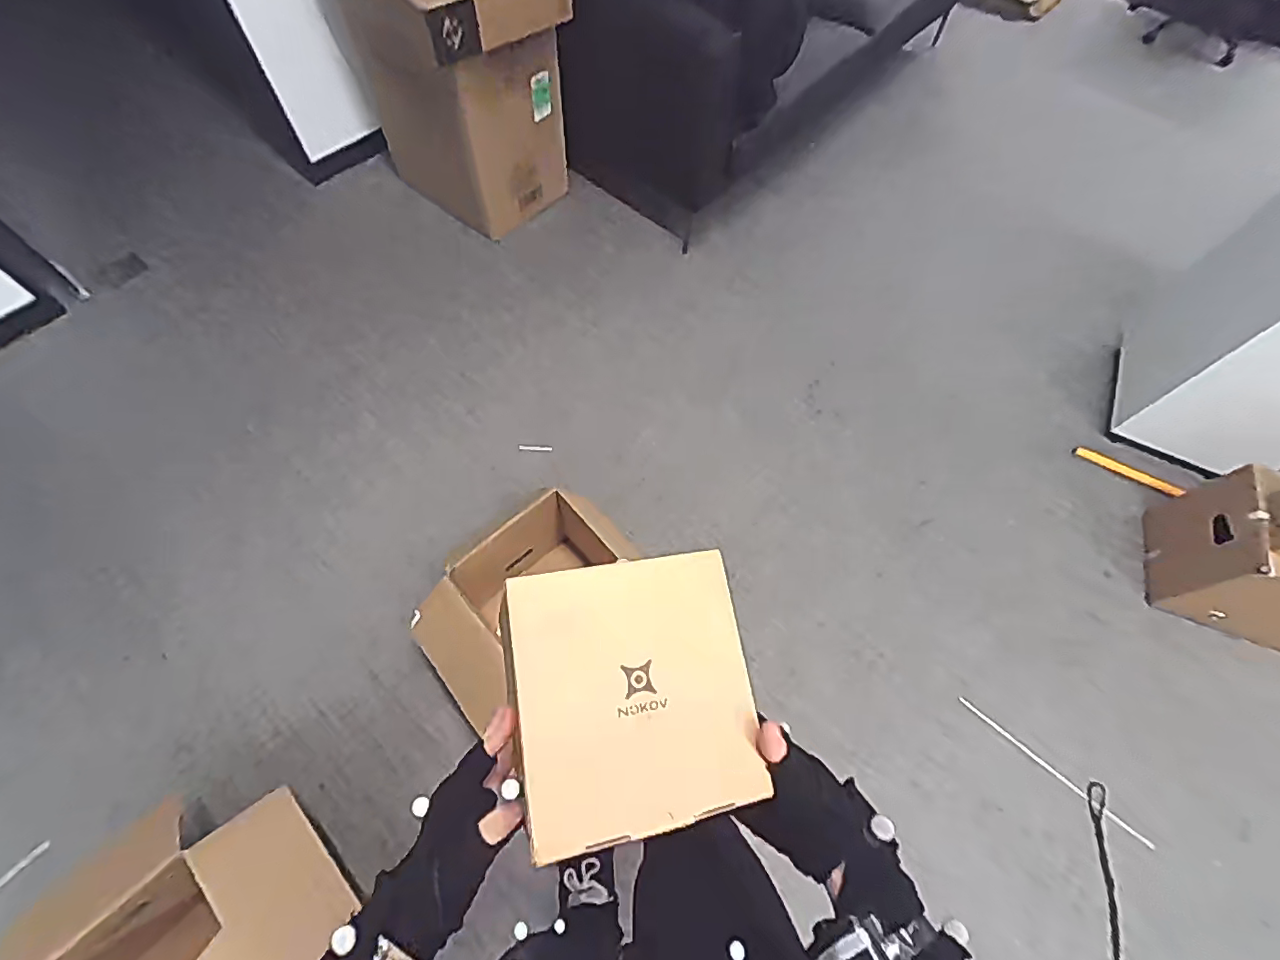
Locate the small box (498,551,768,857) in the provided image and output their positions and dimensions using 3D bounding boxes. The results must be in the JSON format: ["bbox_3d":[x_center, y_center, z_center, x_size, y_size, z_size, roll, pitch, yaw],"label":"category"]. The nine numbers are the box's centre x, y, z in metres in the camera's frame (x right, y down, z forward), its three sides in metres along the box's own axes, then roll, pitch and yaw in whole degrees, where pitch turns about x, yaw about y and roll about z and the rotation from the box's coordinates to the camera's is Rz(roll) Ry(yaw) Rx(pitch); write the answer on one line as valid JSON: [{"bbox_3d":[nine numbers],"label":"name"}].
[{"bbox_3d":[-0.024,0.170,0.449,0.168,0.176,0.179,-5,72,-18],"label":"small box"}]
